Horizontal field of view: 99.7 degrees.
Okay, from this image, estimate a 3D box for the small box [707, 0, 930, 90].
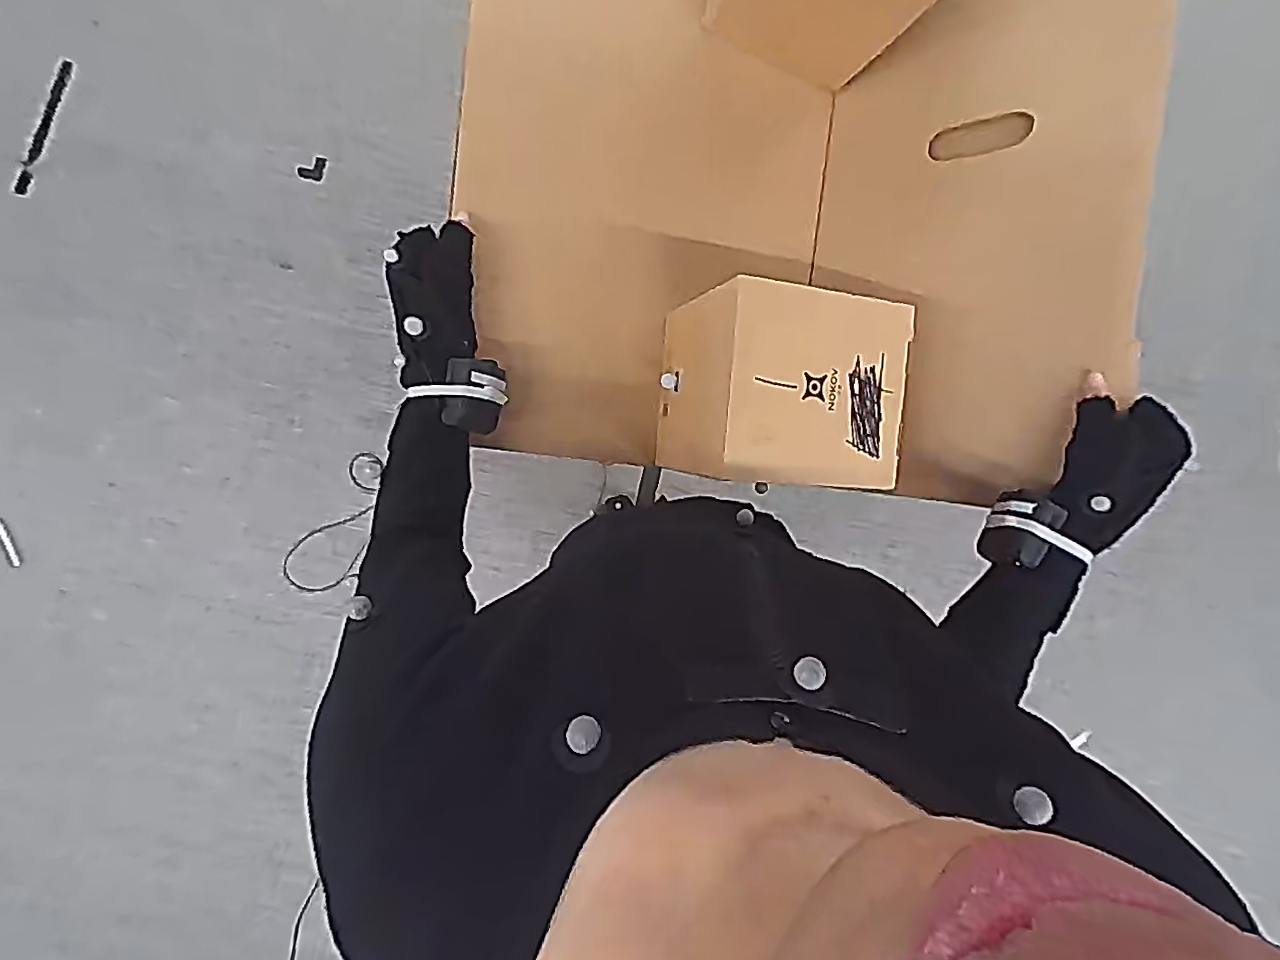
[{"bbox_3d":[0.184,-0.526,0.519,0.179,0.176,0.168,10,91,-19],"label":"small box"}]
